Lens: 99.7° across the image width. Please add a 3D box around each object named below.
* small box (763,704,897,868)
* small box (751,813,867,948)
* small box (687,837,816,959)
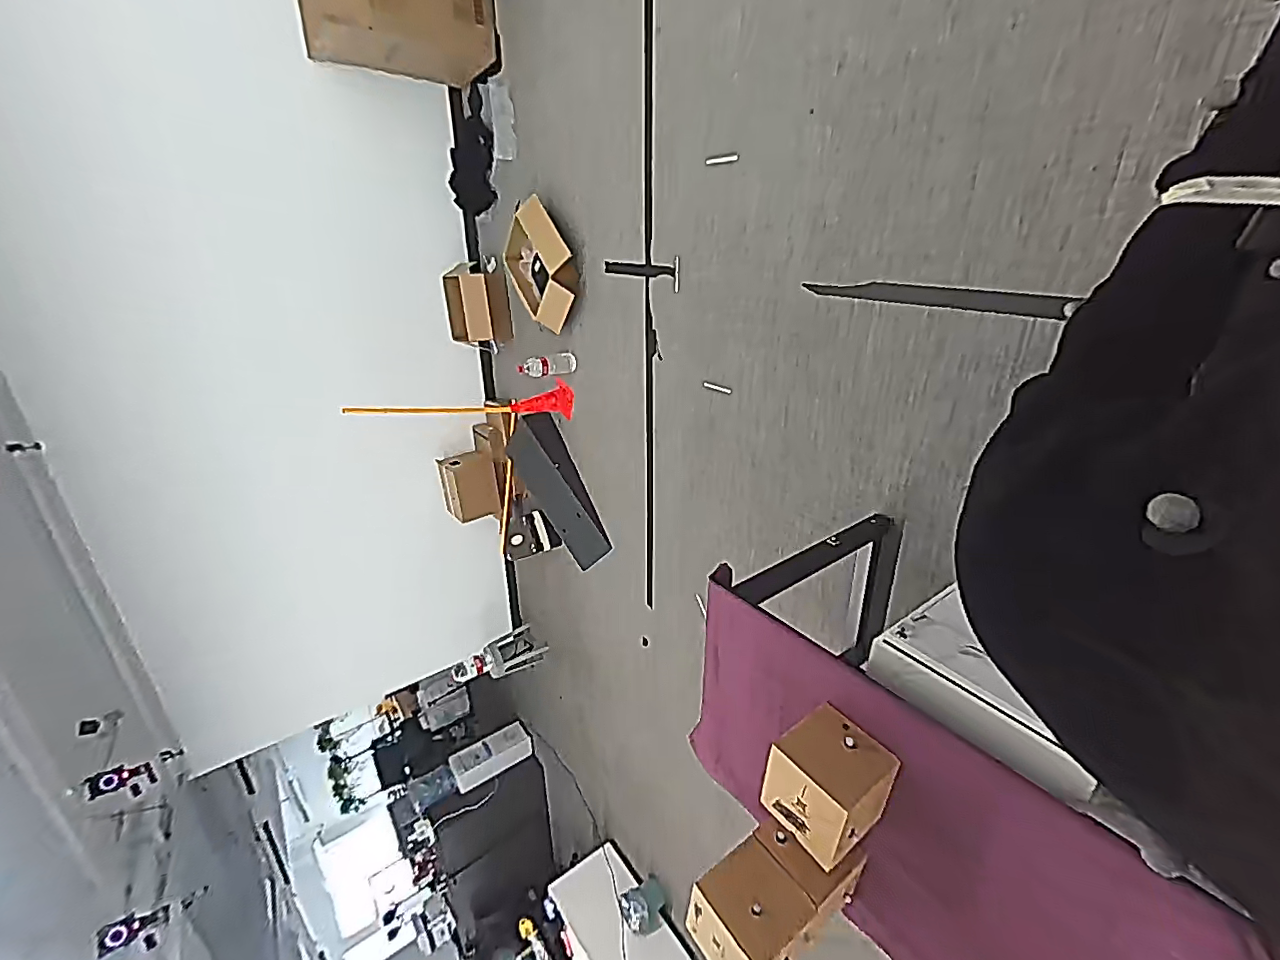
[{"bbox_3d":[0.361,0.574,1.032,0.168,0.176,0.179,32,130,45],"label":"small box"},{"bbox_3d":[0.350,0.826,1.162,0.179,0.176,0.168,32,129,45],"label":"small box"},{"bbox_3d":[0.219,0.867,1.071,0.179,0.176,0.168,33,129,43],"label":"small box"}]
